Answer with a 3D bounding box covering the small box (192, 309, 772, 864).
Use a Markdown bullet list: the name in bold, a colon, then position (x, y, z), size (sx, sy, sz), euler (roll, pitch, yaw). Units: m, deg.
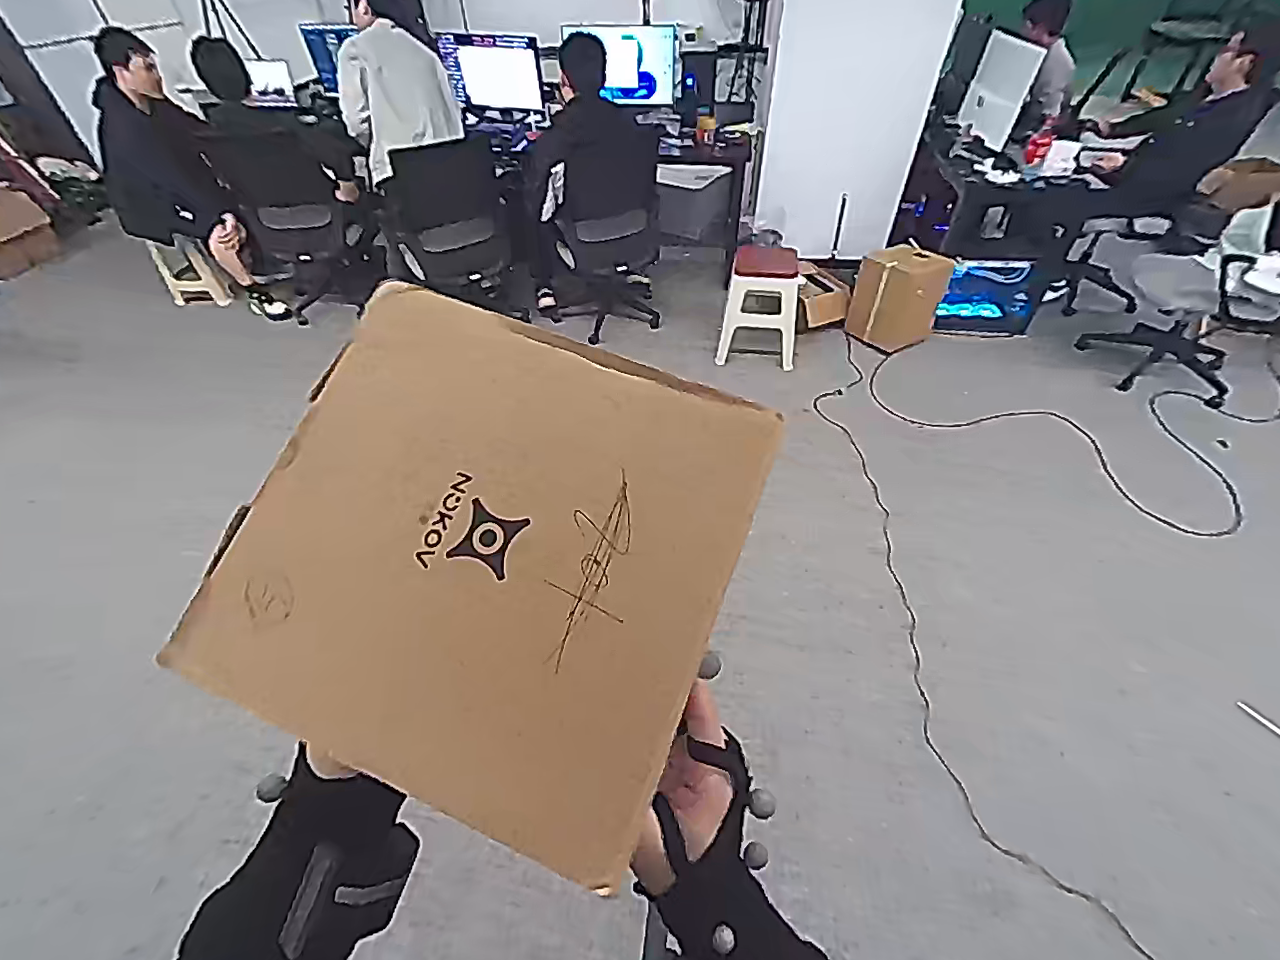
- **small box**: position (-0.052, 0.046, 0.280), size (0.179, 0.176, 0.168), euler (18, 76, 8)
